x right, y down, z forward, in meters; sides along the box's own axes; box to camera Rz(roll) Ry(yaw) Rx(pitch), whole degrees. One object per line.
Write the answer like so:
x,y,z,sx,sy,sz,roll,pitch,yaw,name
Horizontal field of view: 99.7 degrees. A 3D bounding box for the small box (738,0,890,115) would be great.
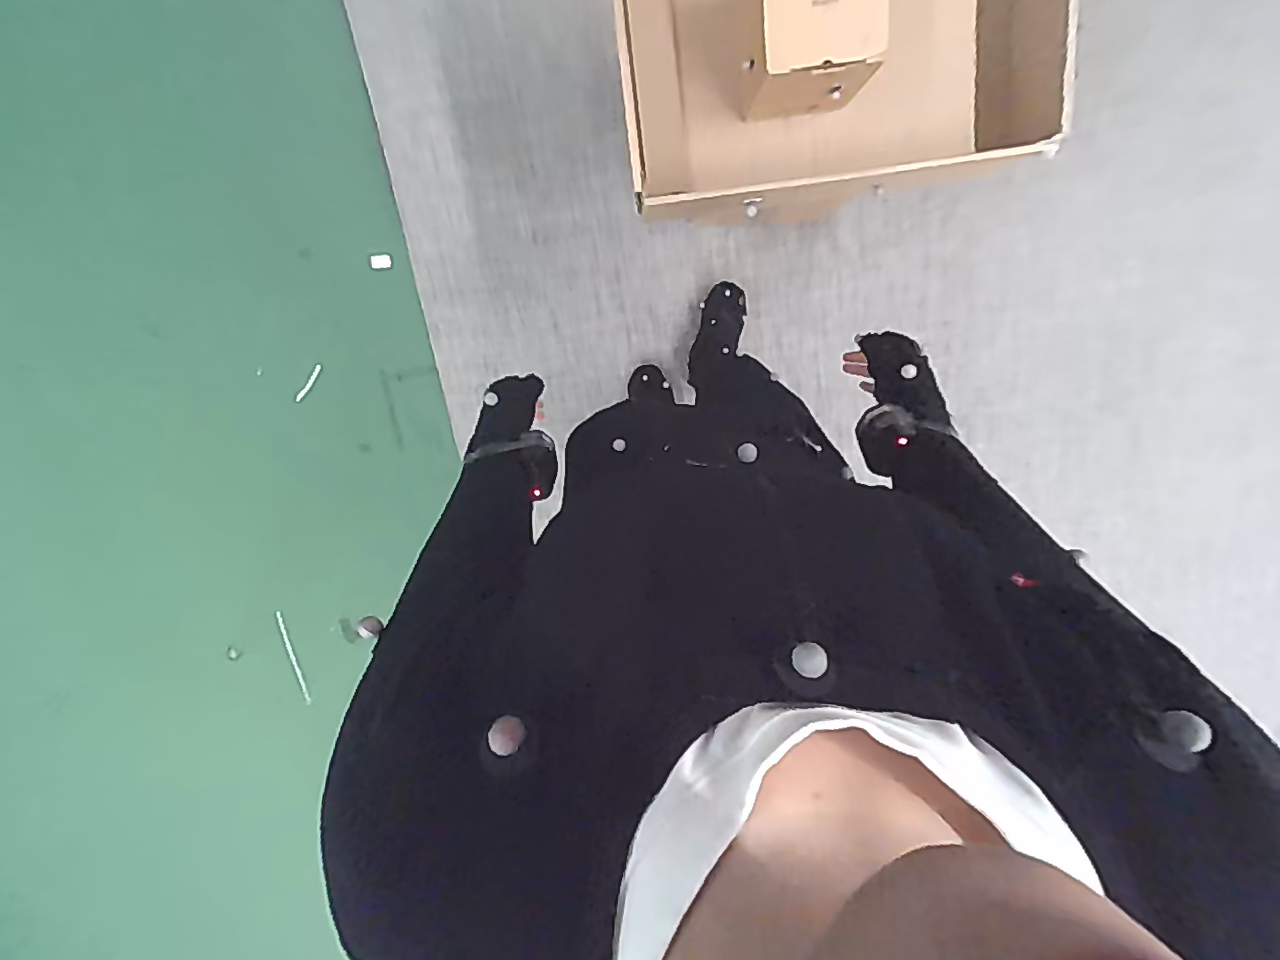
0.242,-0.655,0.779,0.168,0.176,0.179,-7,103,0,small box
